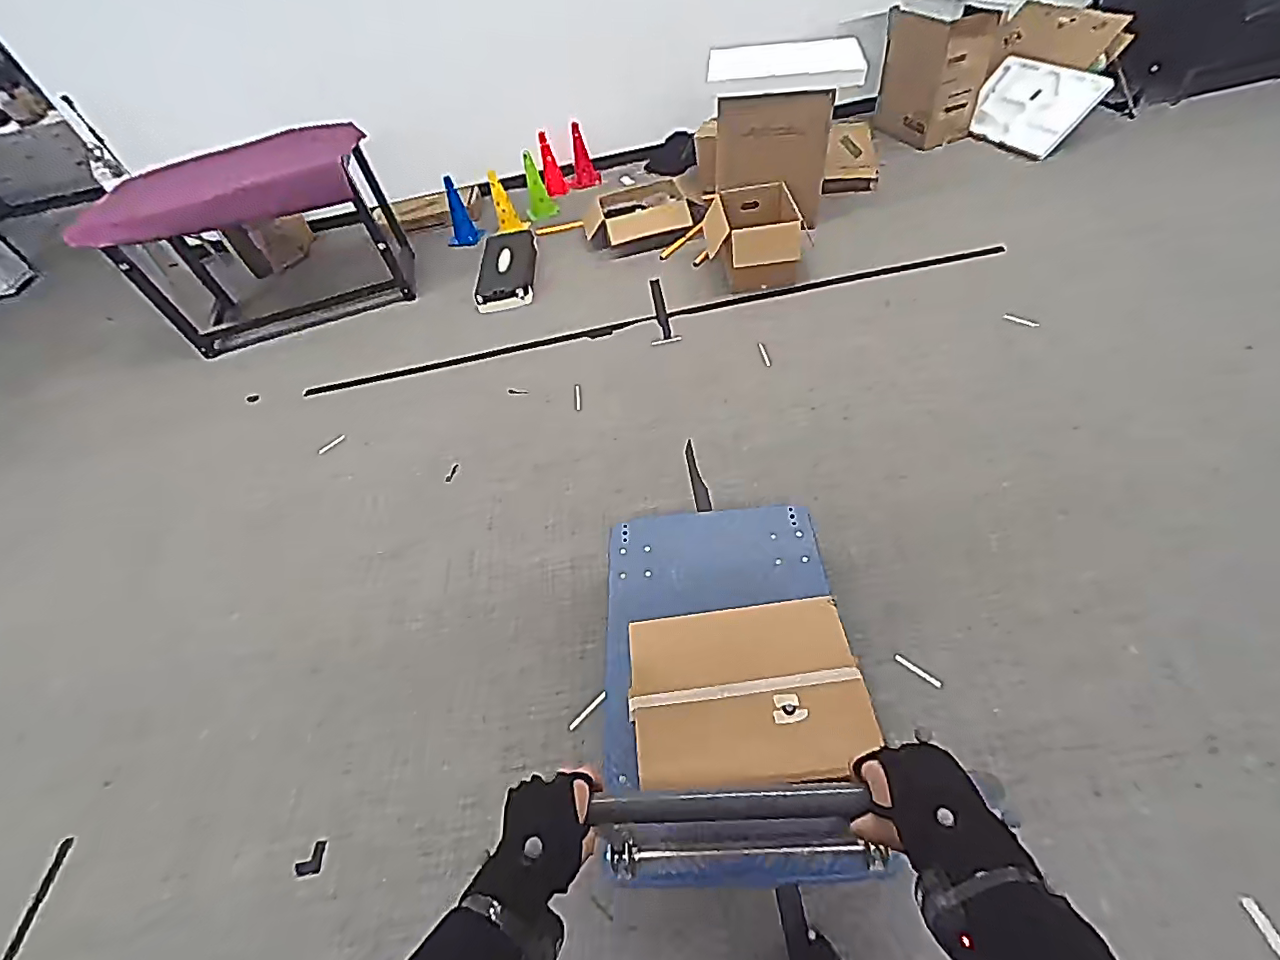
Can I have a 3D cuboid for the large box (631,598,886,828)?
[{"bbox_3d":[0.210,0.476,1.089,0.408,0.320,0.320,-9,50,2],"label":"large box"}]
